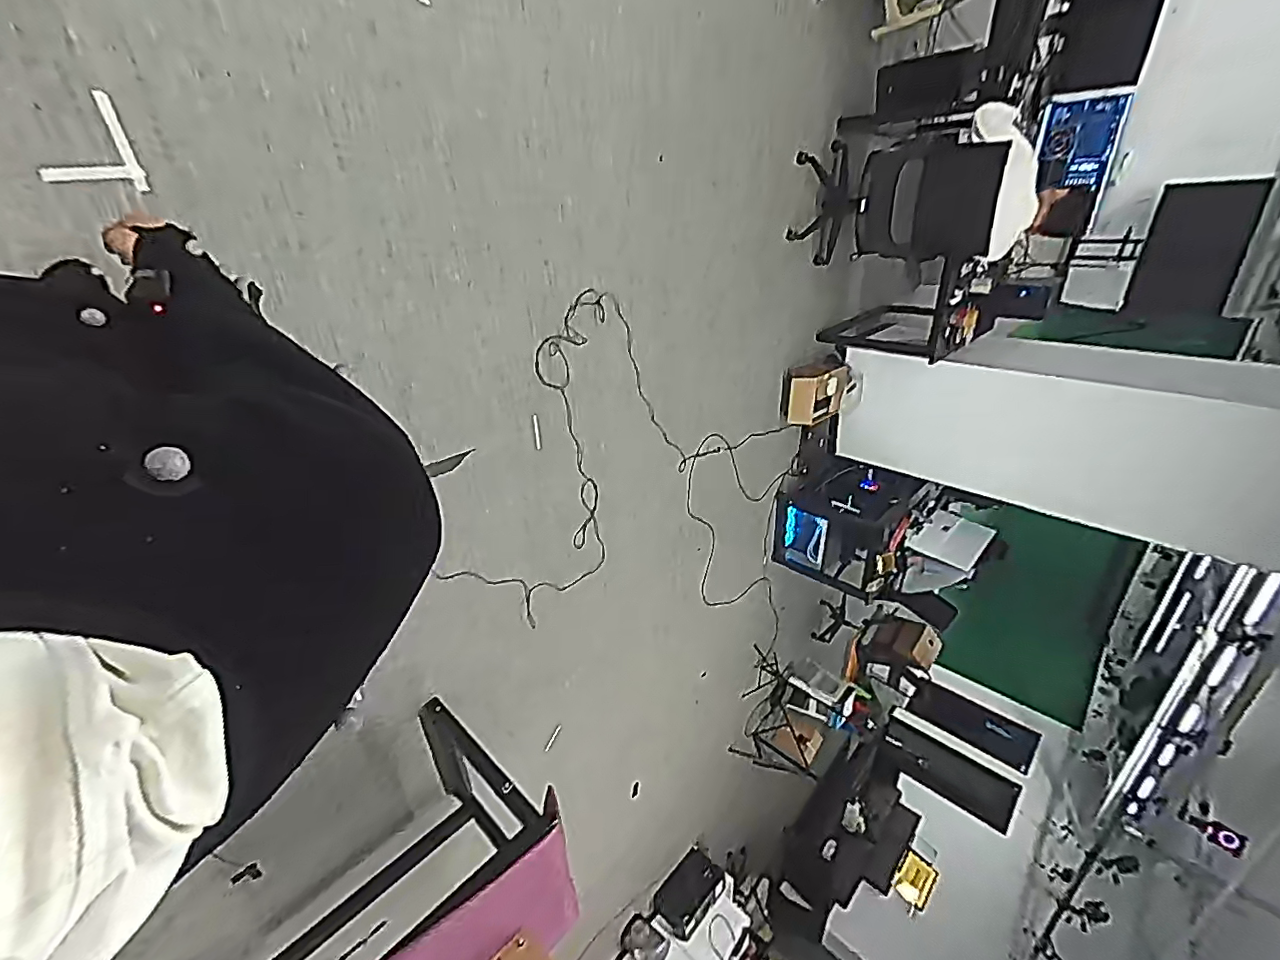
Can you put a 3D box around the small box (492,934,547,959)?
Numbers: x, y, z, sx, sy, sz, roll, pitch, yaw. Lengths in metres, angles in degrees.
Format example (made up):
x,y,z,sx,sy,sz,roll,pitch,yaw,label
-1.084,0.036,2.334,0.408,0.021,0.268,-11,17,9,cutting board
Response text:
x,y,z,sx,sy,sz,roll,pitch,yaw,label
-0.360,1.511,1.604,0.168,0.176,0.179,-20,121,-42,small box
